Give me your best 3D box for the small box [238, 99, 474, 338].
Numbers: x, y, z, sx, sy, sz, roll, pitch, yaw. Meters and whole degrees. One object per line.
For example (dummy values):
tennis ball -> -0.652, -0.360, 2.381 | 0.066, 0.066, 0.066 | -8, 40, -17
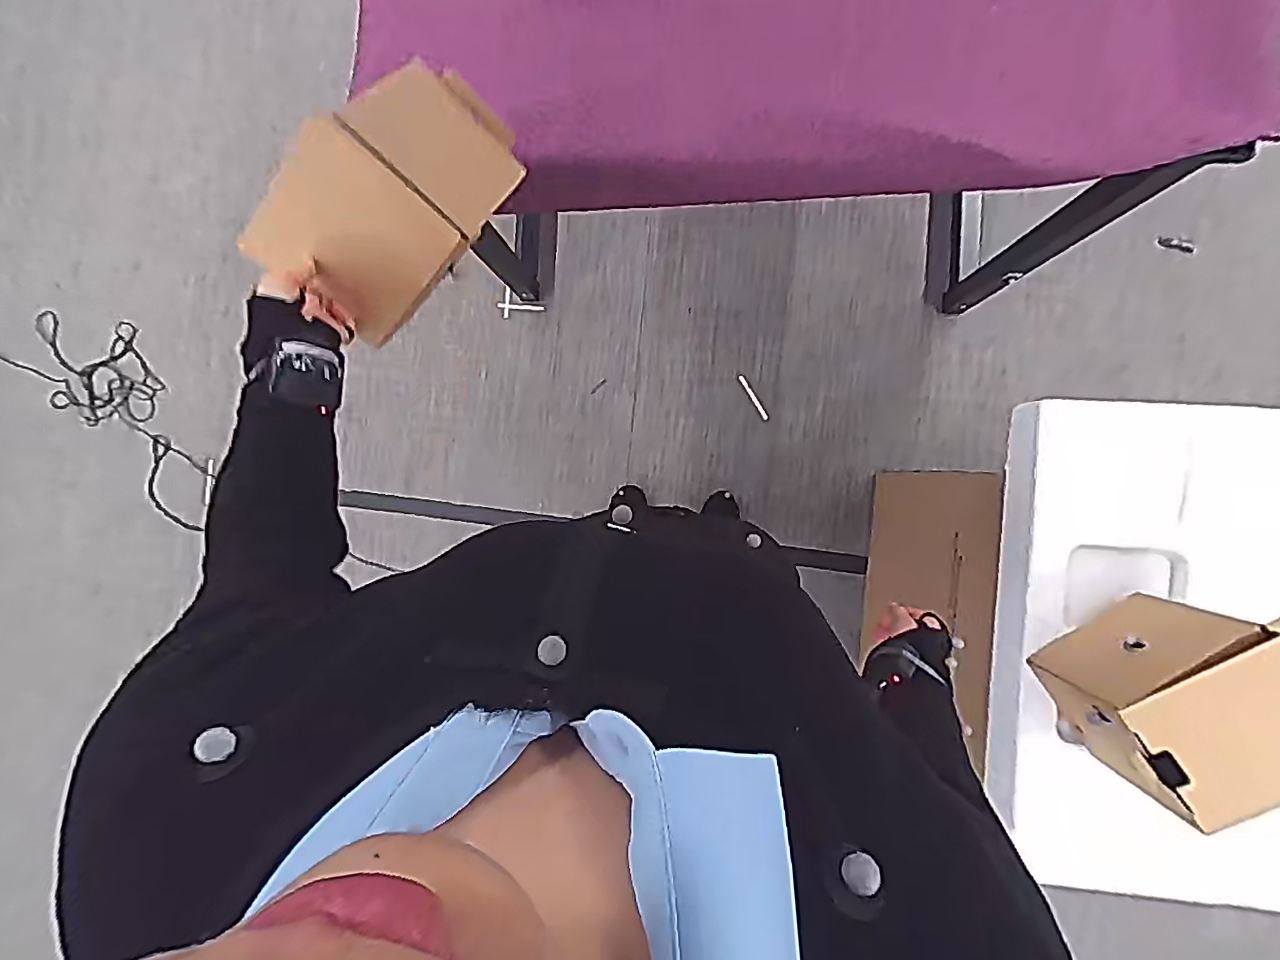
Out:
small box -> -0.316, -0.305, 0.645 | 0.179, 0.176, 0.168 | -42, 117, 13
